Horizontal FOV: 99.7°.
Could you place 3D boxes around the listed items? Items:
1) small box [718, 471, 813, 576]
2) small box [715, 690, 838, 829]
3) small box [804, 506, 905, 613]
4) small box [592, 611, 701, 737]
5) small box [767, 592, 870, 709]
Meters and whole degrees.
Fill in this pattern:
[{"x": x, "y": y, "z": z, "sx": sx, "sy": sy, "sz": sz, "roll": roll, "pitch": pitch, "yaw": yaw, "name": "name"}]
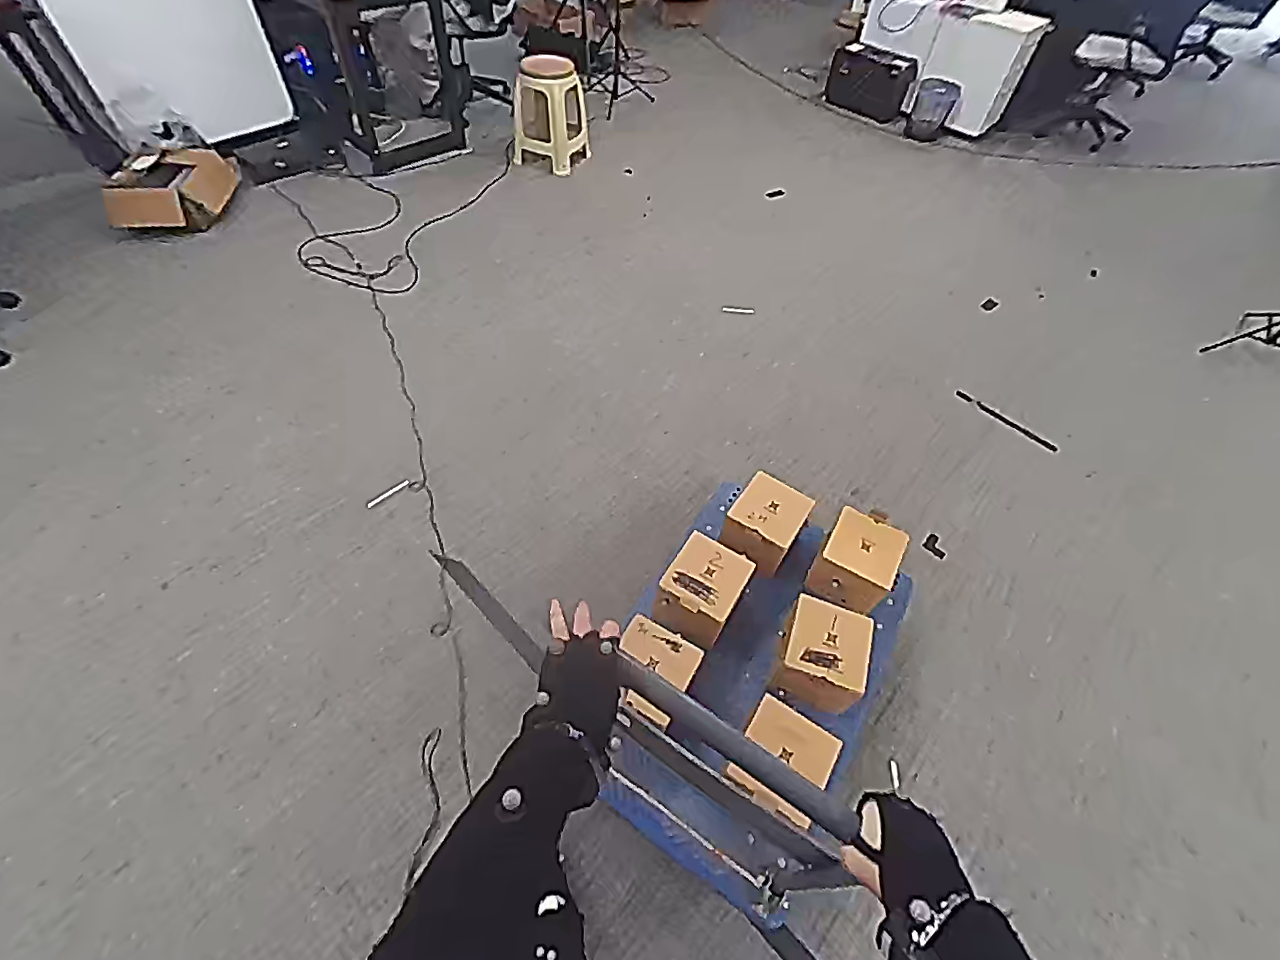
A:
[{"x": 0.319, "y": 0.116, "z": 1.410, "sx": 0.168, "sy": 0.176, "sz": 0.179, "roll": 32, "pitch": 58, "yaw": 18, "name": "small box"}, {"x": 0.263, "y": 0.563, "z": 1.080, "sx": 0.168, "sy": 0.176, "sz": 0.179, "roll": 31, "pitch": 57, "yaw": 17, "name": "small box"}, {"x": 0.532, "y": 0.204, "z": 1.364, "sx": 0.168, "sy": 0.176, "sz": 0.179, "roll": 27, "pitch": 56, "yaw": 16, "name": "small box"}, {"x": 0.013, "y": 0.422, "z": 1.163, "sx": 0.168, "sy": 0.176, "sz": 0.179, "roll": 28, "pitch": 57, "yaw": 14, "name": "small box"}, {"x": 0.395, "y": 0.388, "z": 1.217, "sx": 0.168, "sy": 0.176, "sz": 0.179, "roll": 20, "pitch": 54, "yaw": 10, "name": "small box"}]
